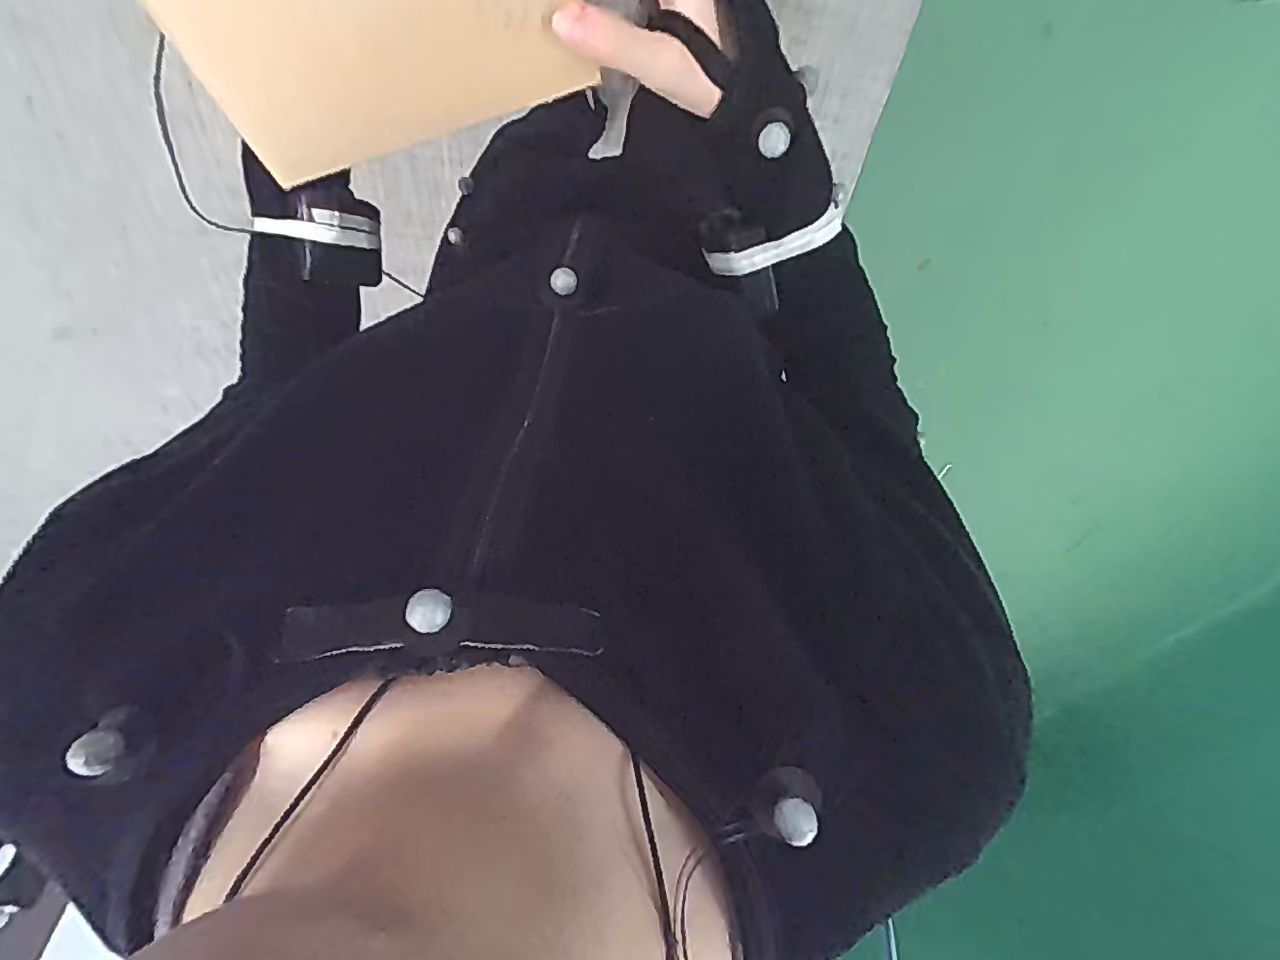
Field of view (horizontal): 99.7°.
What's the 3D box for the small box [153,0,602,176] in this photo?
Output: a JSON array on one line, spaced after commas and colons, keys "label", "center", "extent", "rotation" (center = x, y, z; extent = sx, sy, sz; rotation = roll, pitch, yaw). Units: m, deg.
[{"label": "small box", "center": [-0.124, -0.276, 0.233], "extent": [0.168, 0.176, 0.179], "rotation": [-16, 143, 3]}]
